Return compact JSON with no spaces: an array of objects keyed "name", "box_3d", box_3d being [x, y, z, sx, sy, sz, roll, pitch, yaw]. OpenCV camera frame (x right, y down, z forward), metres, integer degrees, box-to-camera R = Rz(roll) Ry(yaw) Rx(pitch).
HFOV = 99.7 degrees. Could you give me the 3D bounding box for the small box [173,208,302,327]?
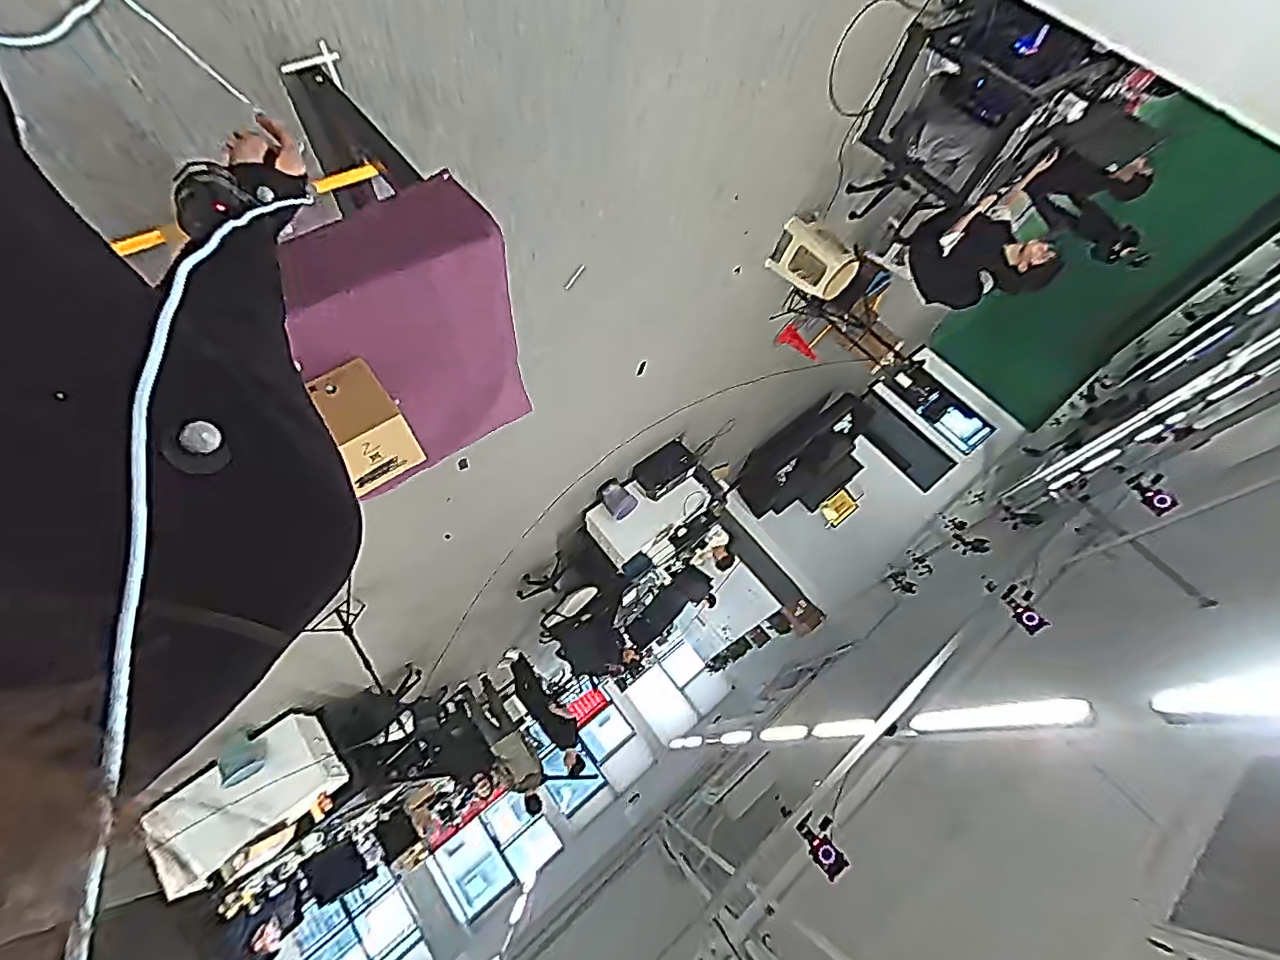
[{"name":"small box","box_3d":[-0.970,-0.511,1.300,0.179,0.176,0.168,-35,162,-19]}]
